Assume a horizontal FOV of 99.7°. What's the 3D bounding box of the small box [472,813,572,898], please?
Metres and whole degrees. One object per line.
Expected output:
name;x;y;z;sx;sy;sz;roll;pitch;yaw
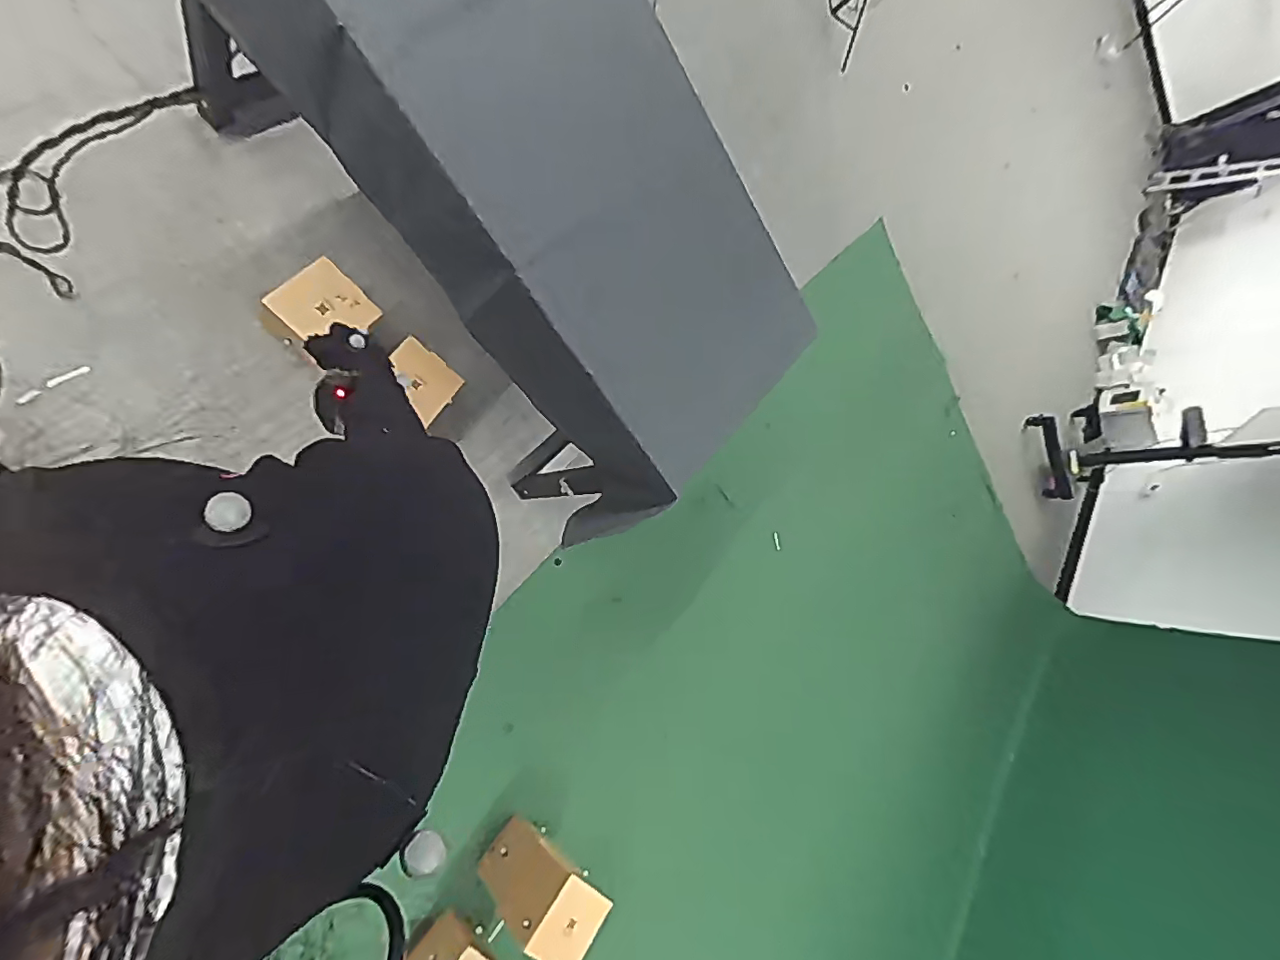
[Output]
small box;-0.326;1.050;1.476;0.168;0.176;0.179;-48;113;-28

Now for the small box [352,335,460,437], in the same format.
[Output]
small box;-0.593;-0.230;1.359;0.168;0.176;0.179;43;64;-26

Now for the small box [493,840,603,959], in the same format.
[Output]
small box;-0.232;1.045;1.342;0.179;0.176;0.168;-50;115;-27
